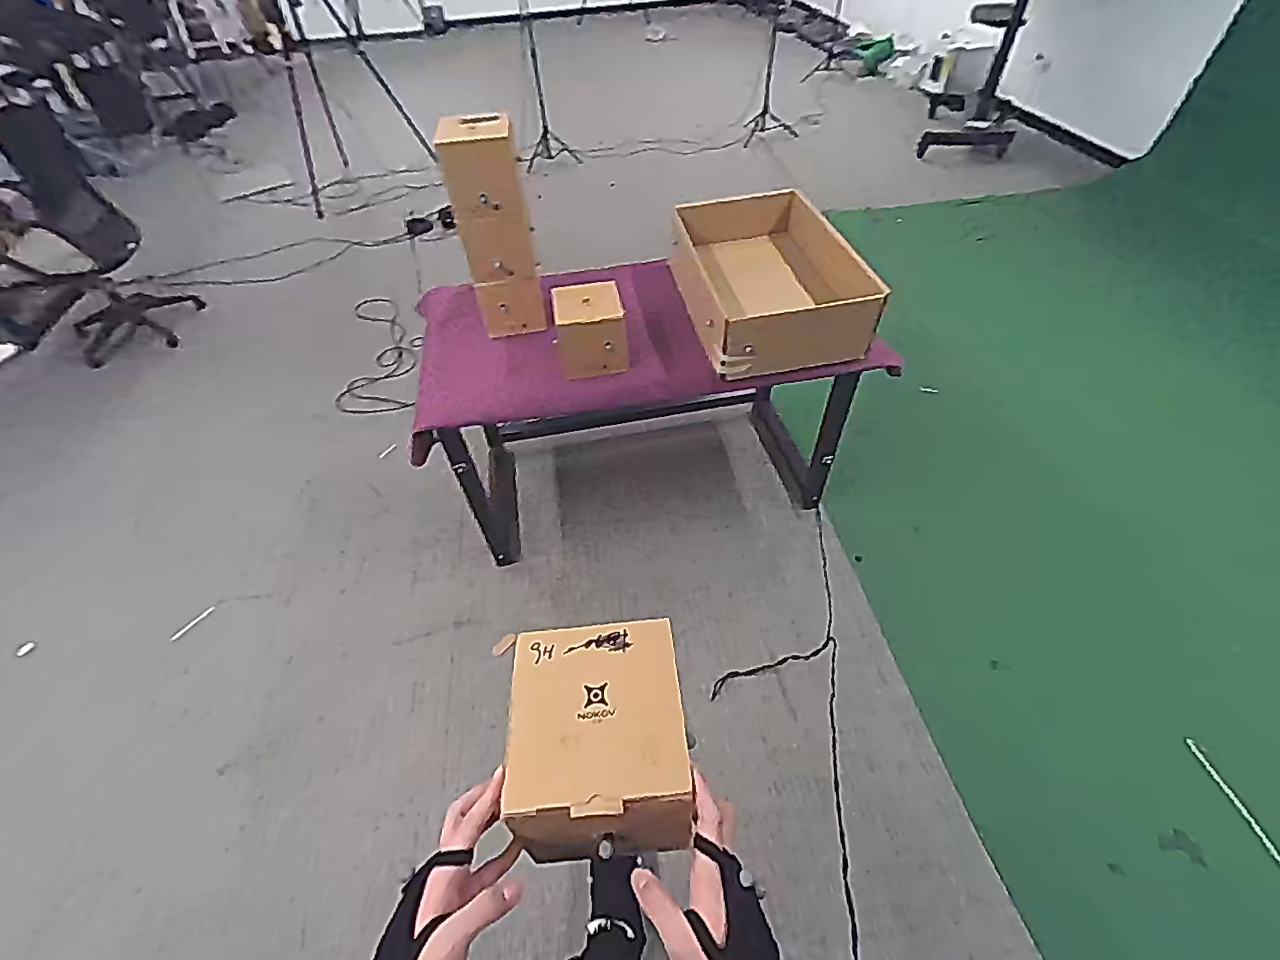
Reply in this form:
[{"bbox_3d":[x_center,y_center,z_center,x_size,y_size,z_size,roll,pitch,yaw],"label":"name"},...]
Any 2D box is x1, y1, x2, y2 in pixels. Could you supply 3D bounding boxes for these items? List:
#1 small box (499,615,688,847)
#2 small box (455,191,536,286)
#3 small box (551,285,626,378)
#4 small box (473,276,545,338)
[{"bbox_3d":[-0.039,0.268,0.570,0.168,0.176,0.179,-5,43,-1],"label":"small box"},{"bbox_3d":[-0.371,-0.631,1.416,0.168,0.176,0.179,-7,49,-3],"label":"small box"},{"bbox_3d":[-0.132,-0.377,1.398,0.168,0.176,0.179,-8,48,-5],"label":"small box"},{"bbox_3d":[-0.370,-0.520,1.537,0.168,0.176,0.179,-10,49,-6],"label":"small box"}]
